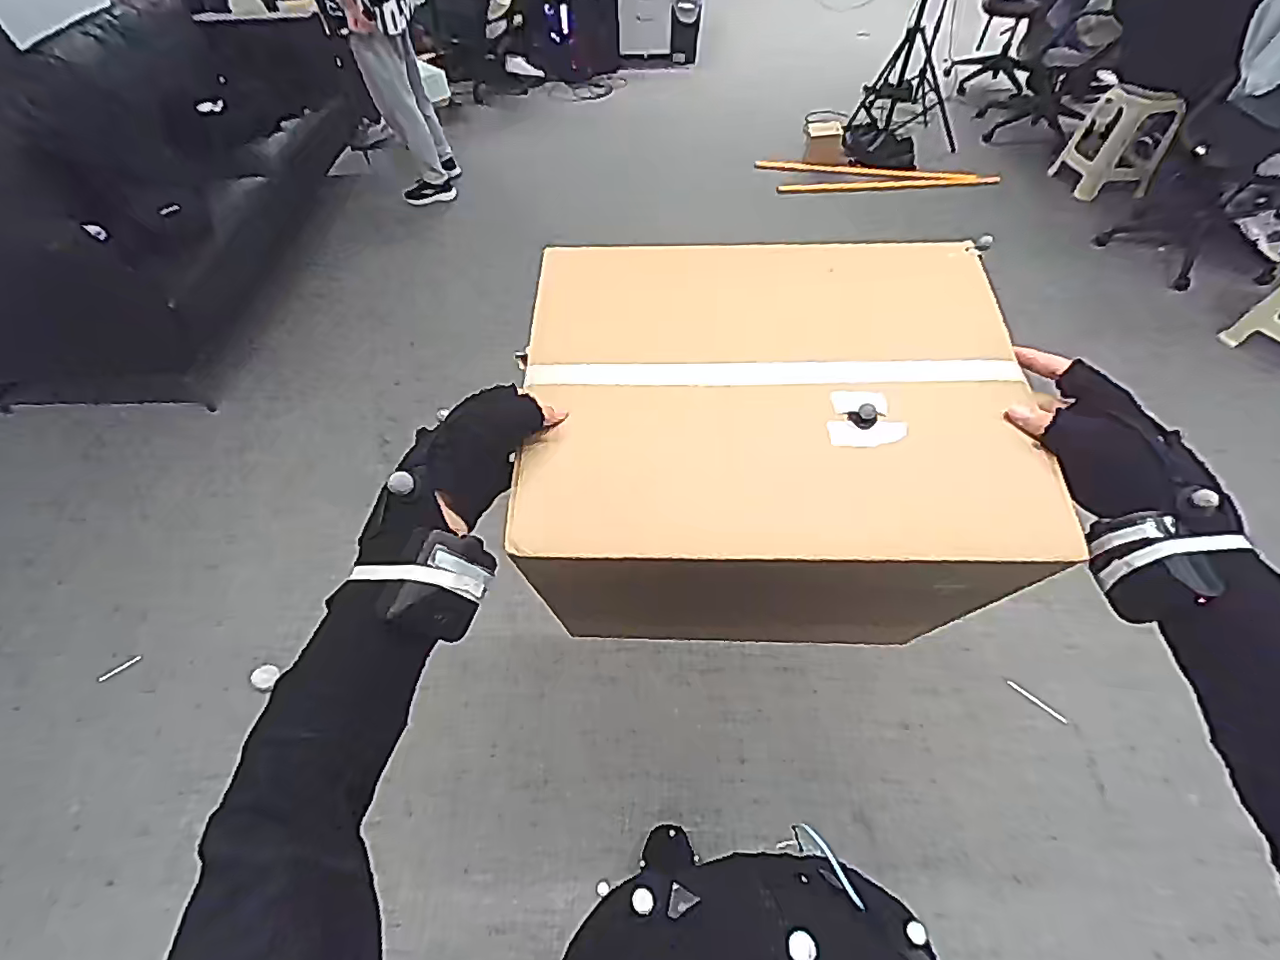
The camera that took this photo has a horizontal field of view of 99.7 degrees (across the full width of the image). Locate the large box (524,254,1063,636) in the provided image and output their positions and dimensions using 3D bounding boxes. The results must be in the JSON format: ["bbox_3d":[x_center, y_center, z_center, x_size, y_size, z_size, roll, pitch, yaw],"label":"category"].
[{"bbox_3d":[0.112,-0.017,0.594,0.408,0.320,0.320,0,64,1],"label":"large box"}]
